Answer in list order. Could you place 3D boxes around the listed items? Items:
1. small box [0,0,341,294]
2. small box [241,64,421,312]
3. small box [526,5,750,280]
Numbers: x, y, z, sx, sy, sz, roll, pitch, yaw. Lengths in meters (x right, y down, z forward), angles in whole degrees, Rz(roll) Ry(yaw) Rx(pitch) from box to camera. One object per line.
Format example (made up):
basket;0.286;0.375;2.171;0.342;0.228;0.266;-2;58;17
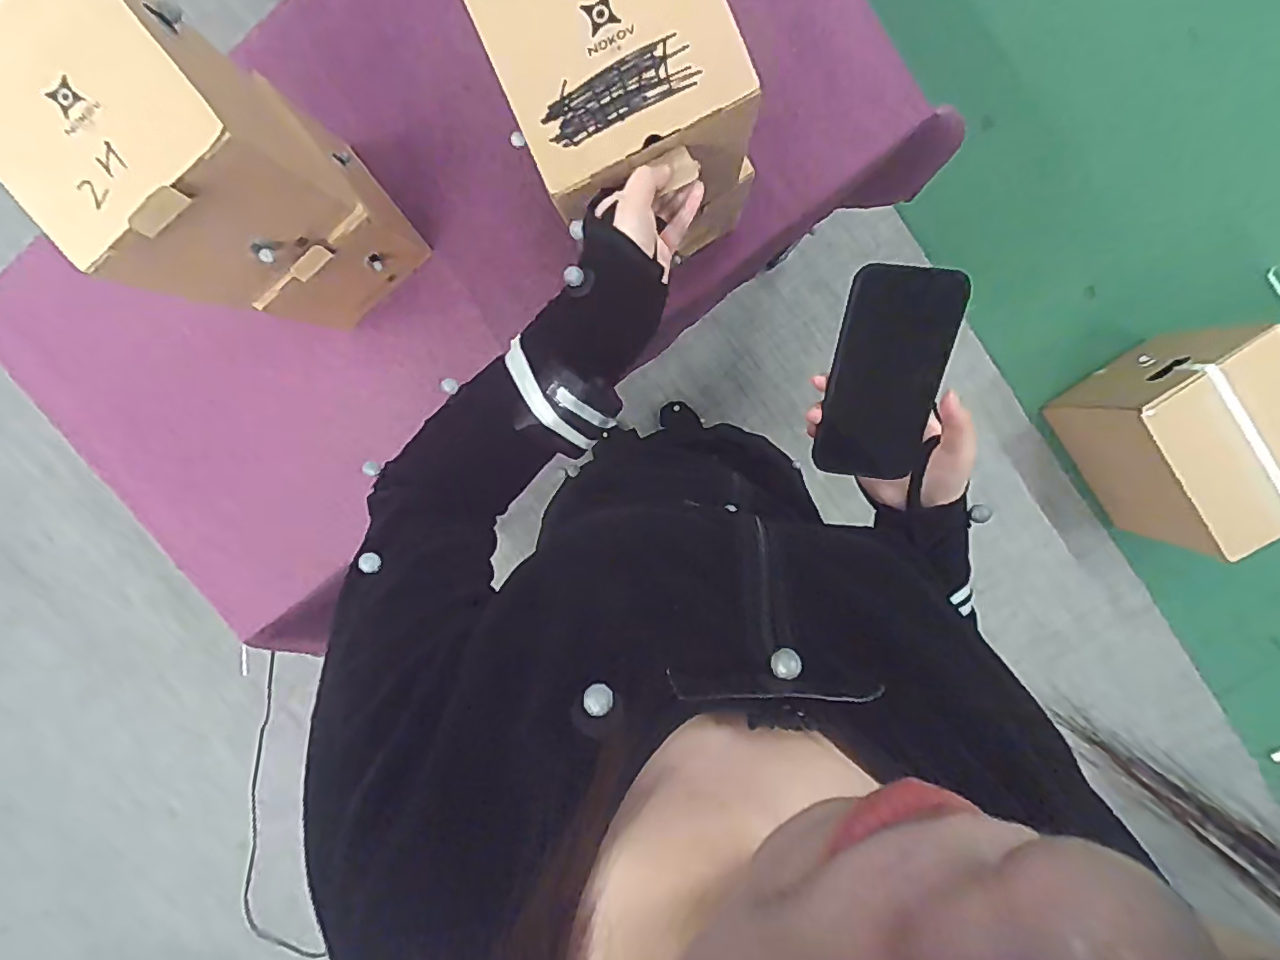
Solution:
small box;-0.420;-0.293;0.478;0.168;0.176;0.179;-37;96;7
small box;-0.399;-0.319;0.641;0.168;0.176;0.179;-37;96;7
small box;0.000;-0.358;0.616;0.168;0.176;0.179;-31;97;7
